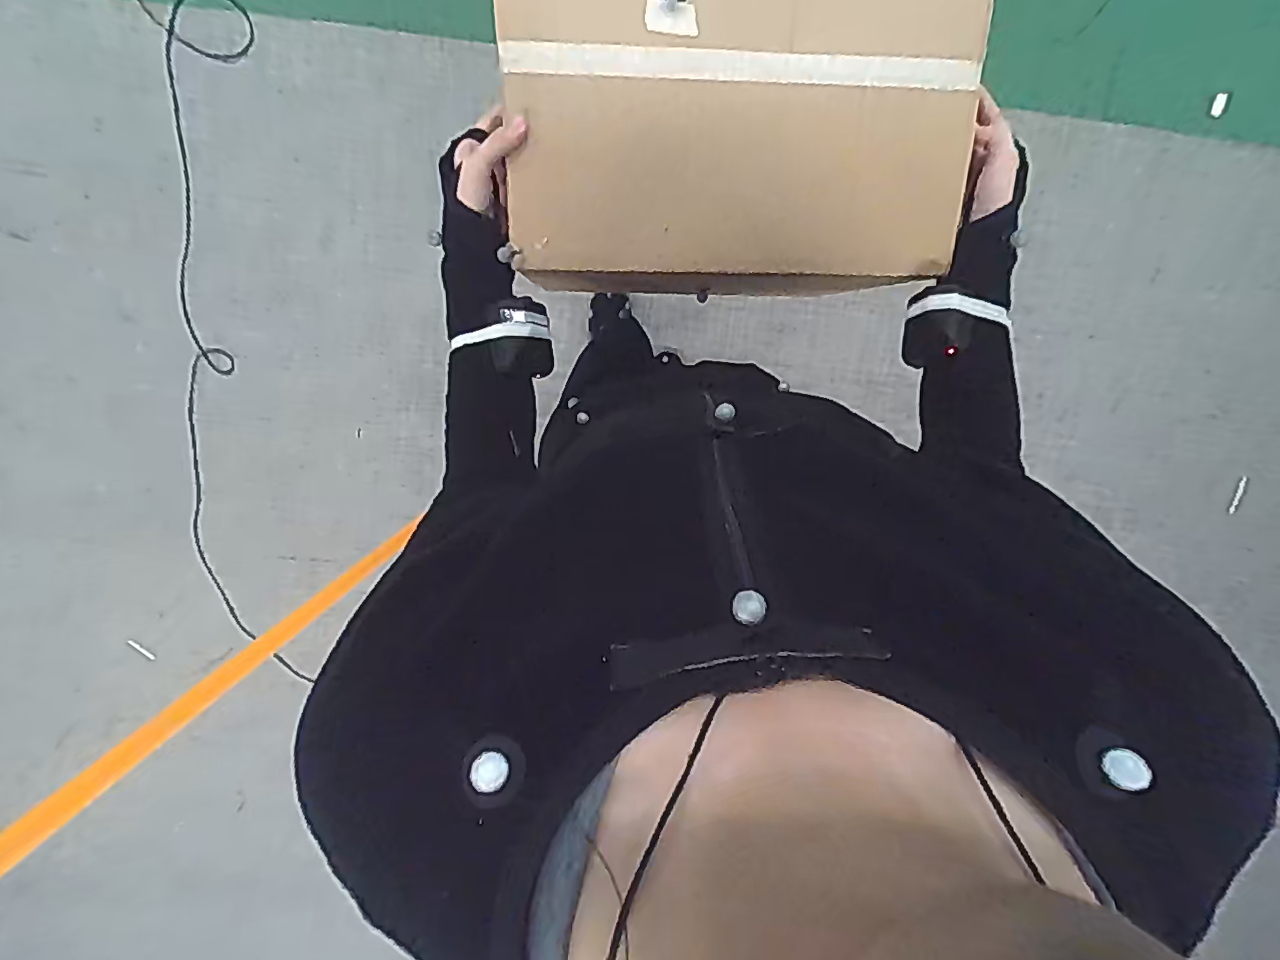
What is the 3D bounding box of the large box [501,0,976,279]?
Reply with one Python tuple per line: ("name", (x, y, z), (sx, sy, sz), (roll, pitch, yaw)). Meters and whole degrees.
("large box", (0.077, -0.395, 0.601), (0.408, 0.320, 0.320), (0, 105, -4))
